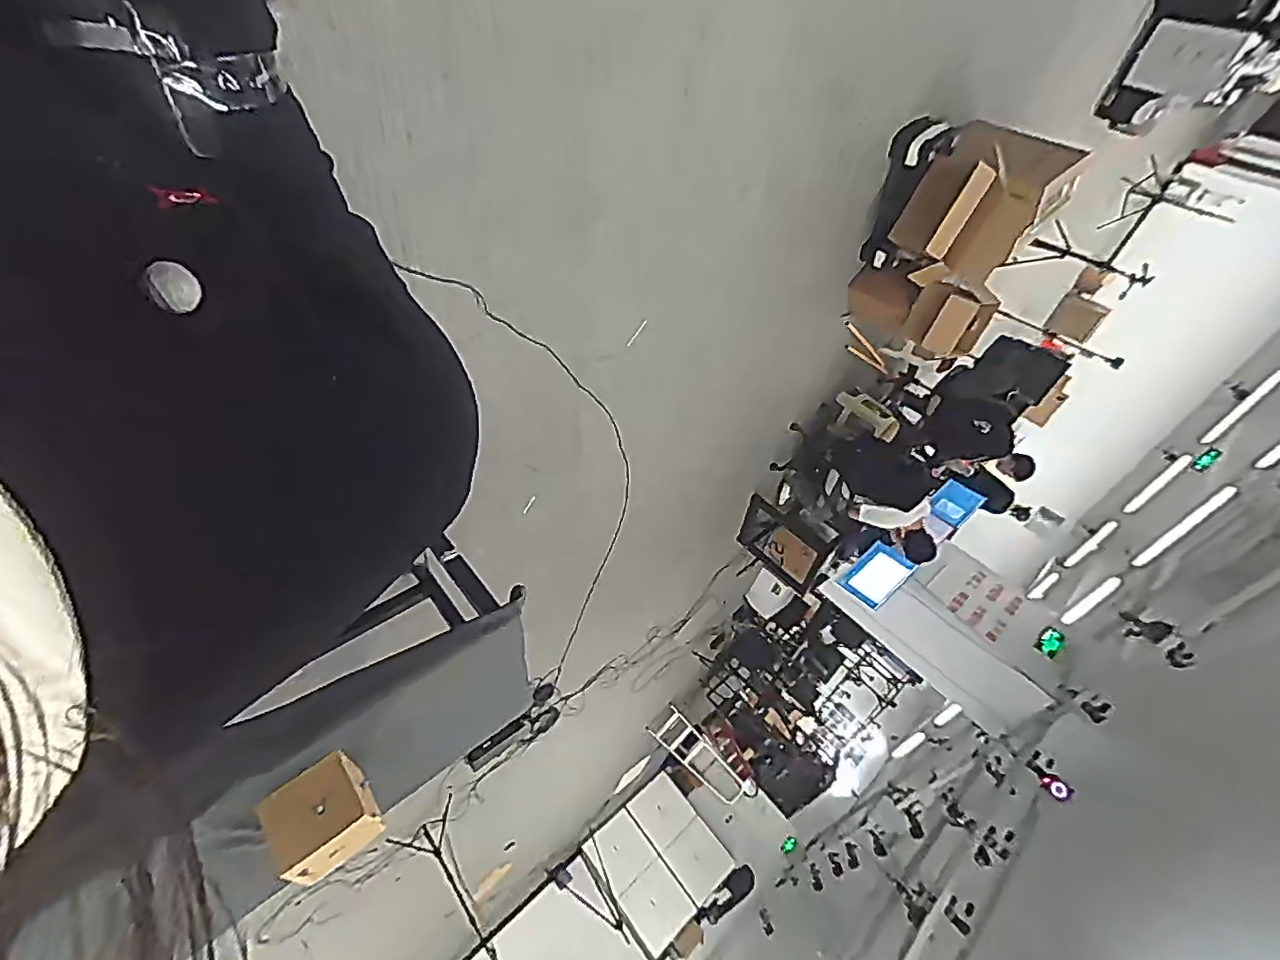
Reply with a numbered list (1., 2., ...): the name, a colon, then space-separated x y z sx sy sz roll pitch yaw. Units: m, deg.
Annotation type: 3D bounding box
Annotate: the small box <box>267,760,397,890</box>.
1. small box: -0.683 0.764 1.206 0.179 0.176 0.168 -33 149 -26
